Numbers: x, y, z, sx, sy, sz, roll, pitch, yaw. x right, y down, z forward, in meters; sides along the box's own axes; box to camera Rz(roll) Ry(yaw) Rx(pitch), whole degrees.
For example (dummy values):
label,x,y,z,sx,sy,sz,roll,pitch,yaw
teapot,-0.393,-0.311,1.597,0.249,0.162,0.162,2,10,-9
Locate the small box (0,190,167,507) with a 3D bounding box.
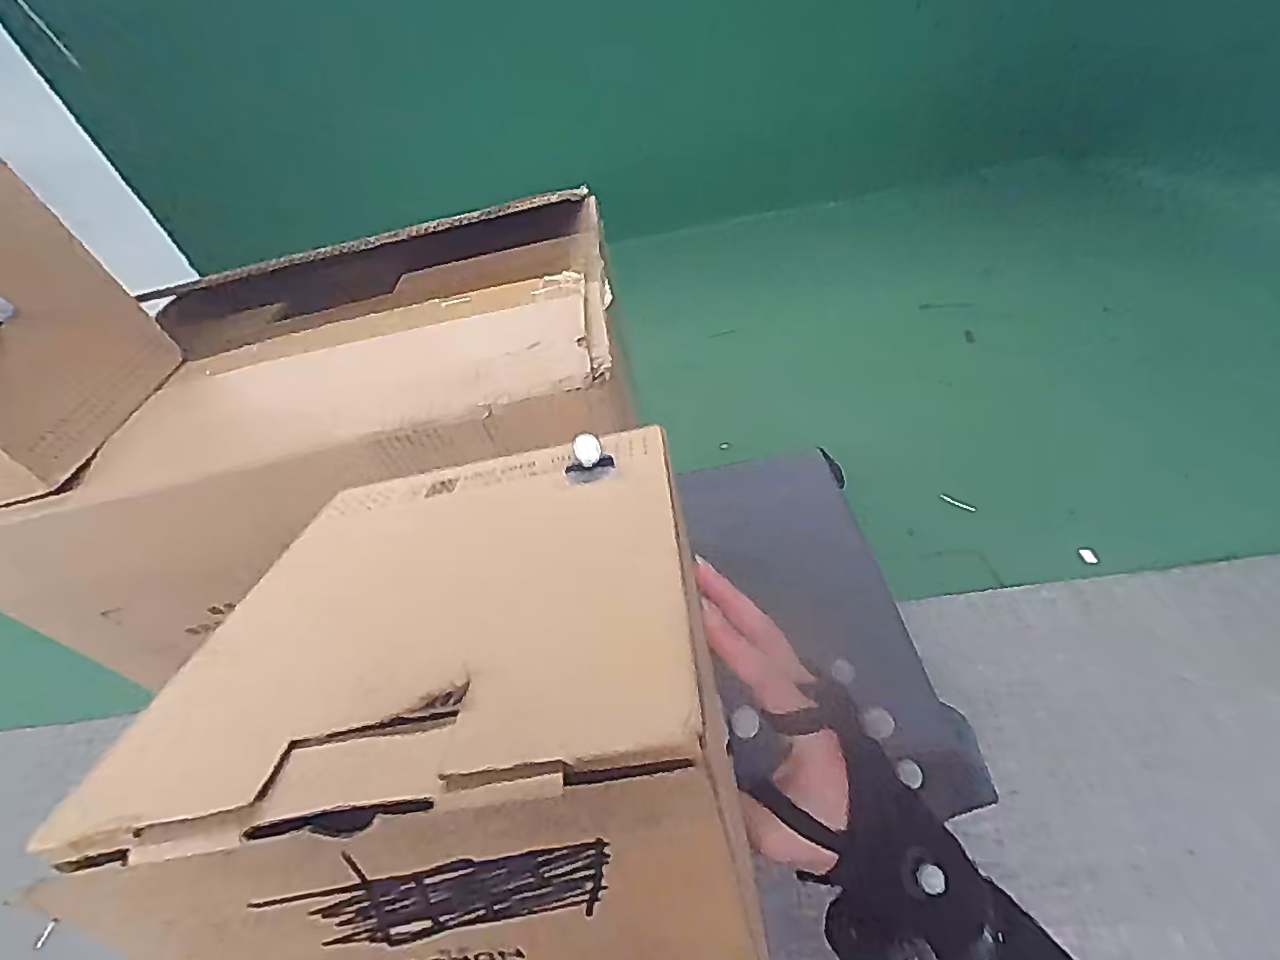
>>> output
label,x,y,z,sx,sy,sz,roll,pitch,yaw
small box,-0.501,-0.084,0.378,0.168,0.176,0.179,-13,45,5
